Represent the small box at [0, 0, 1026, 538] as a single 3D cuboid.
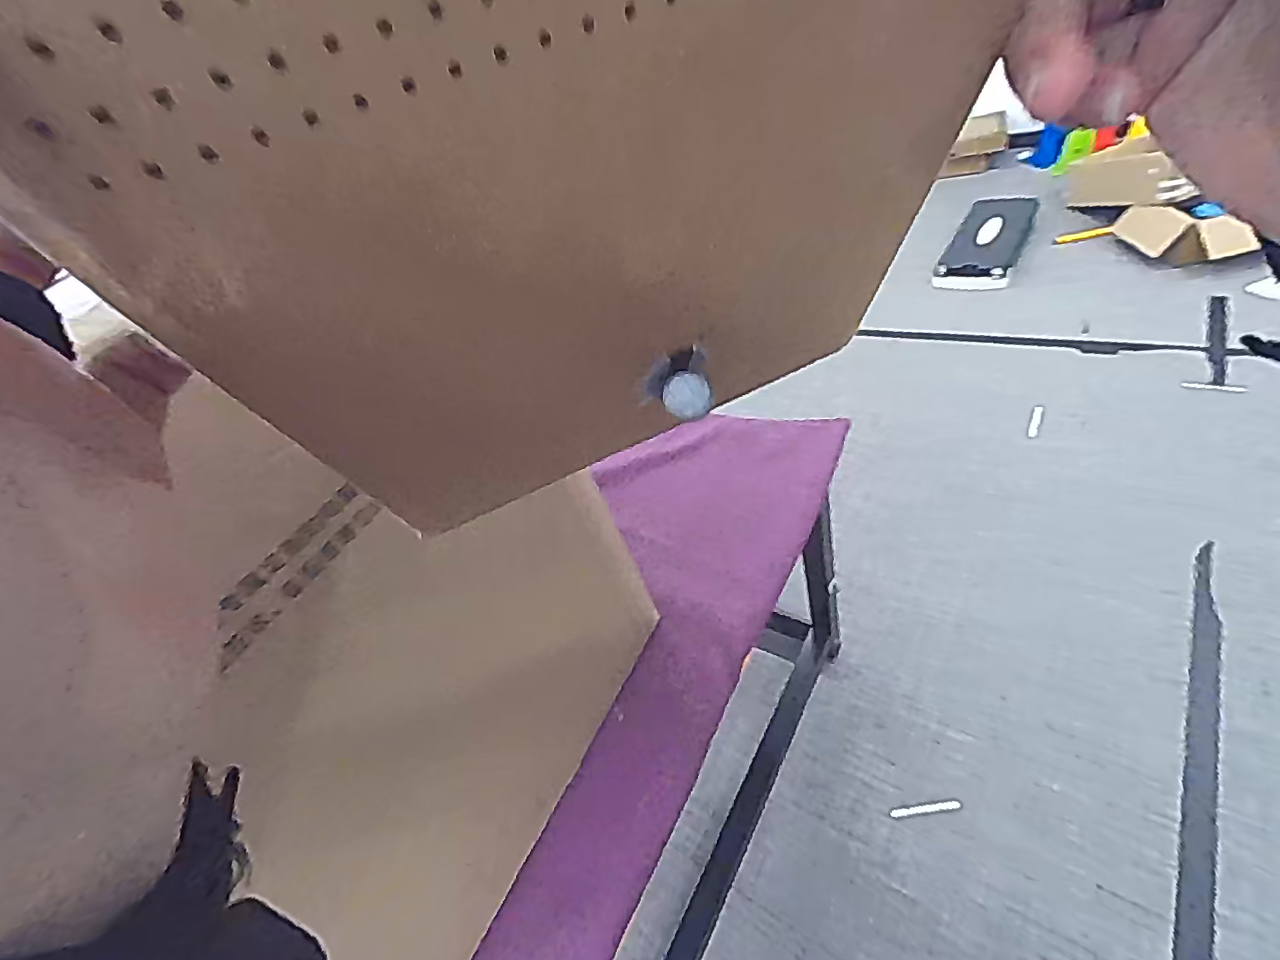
[{"bbox_3d":[-0.031,-0.111,0.160,0.179,0.176,0.168,-25,69,-7],"label":"small box"}]
